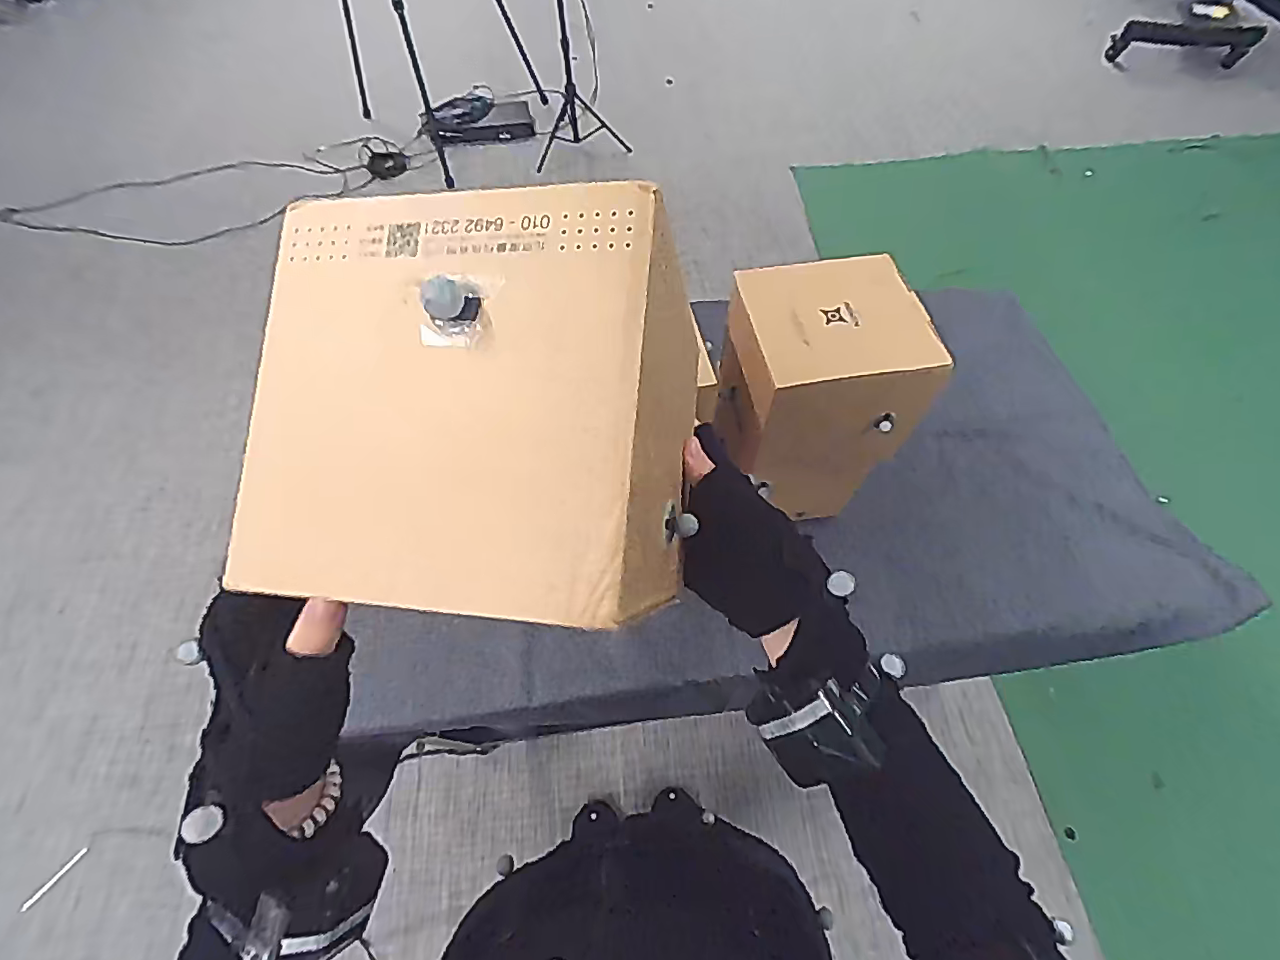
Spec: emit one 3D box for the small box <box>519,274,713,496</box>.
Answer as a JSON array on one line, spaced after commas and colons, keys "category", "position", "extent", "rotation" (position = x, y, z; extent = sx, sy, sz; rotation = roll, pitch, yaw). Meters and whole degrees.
[{"category": "small box", "position": [-0.026, -0.098, 0.611], "extent": [0.179, 0.176, 0.168], "rotation": [-11, 61, -4]}]
